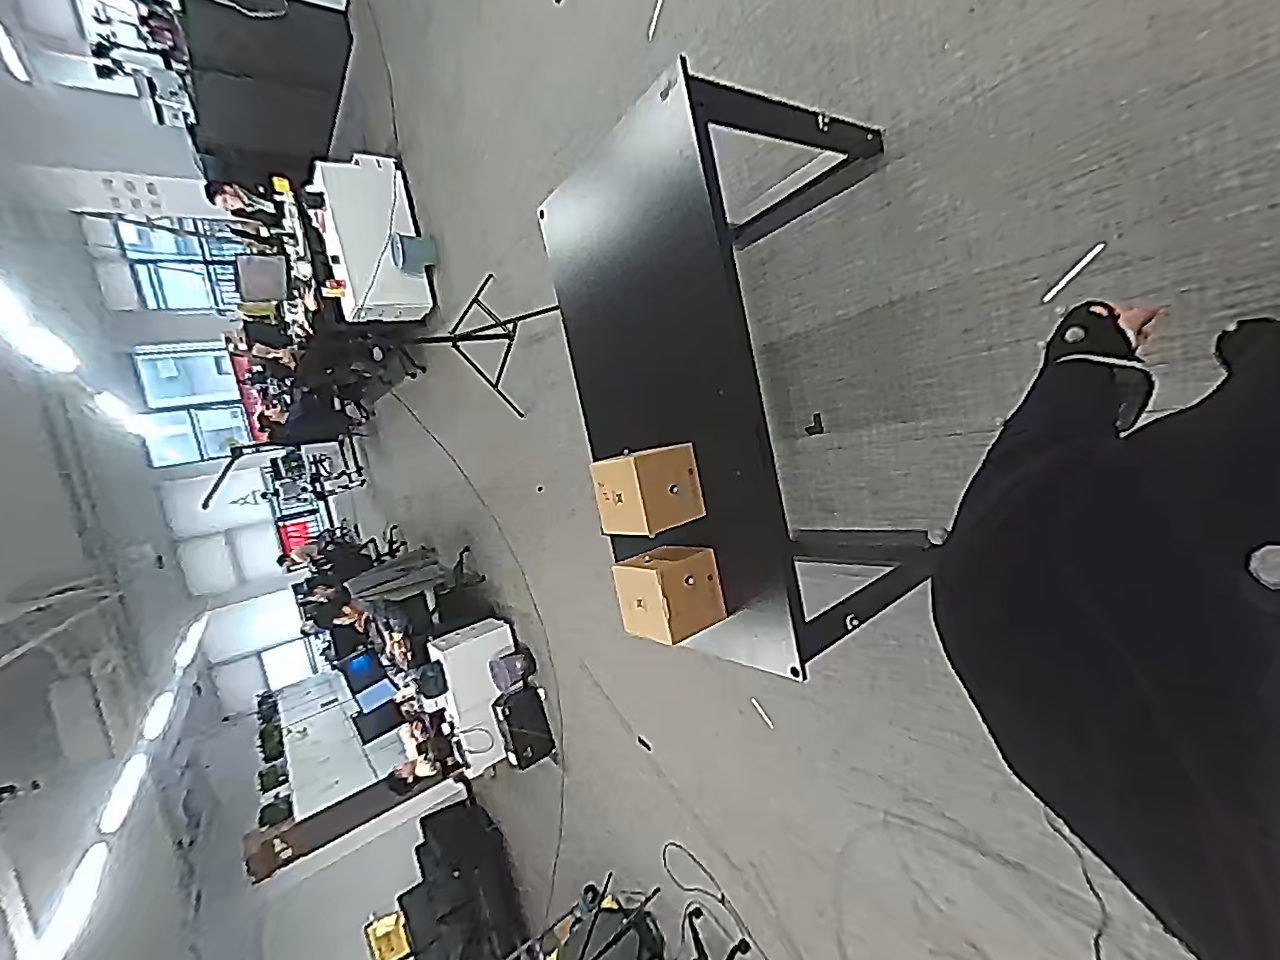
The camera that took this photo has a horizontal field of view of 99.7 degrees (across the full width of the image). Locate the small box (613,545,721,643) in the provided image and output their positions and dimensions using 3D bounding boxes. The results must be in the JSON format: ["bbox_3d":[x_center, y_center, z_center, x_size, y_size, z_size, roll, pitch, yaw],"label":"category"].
[{"bbox_3d":[0.067,0.251,1.235,0.179,0.176,0.168,-7,96,56],"label":"small box"}]

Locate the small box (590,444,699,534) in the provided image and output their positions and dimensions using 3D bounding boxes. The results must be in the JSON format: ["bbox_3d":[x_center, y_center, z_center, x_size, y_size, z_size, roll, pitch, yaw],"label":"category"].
[{"bbox_3d":[0.016,0.018,1.212,0.179,0.176,0.168,-5,98,54],"label":"small box"}]
